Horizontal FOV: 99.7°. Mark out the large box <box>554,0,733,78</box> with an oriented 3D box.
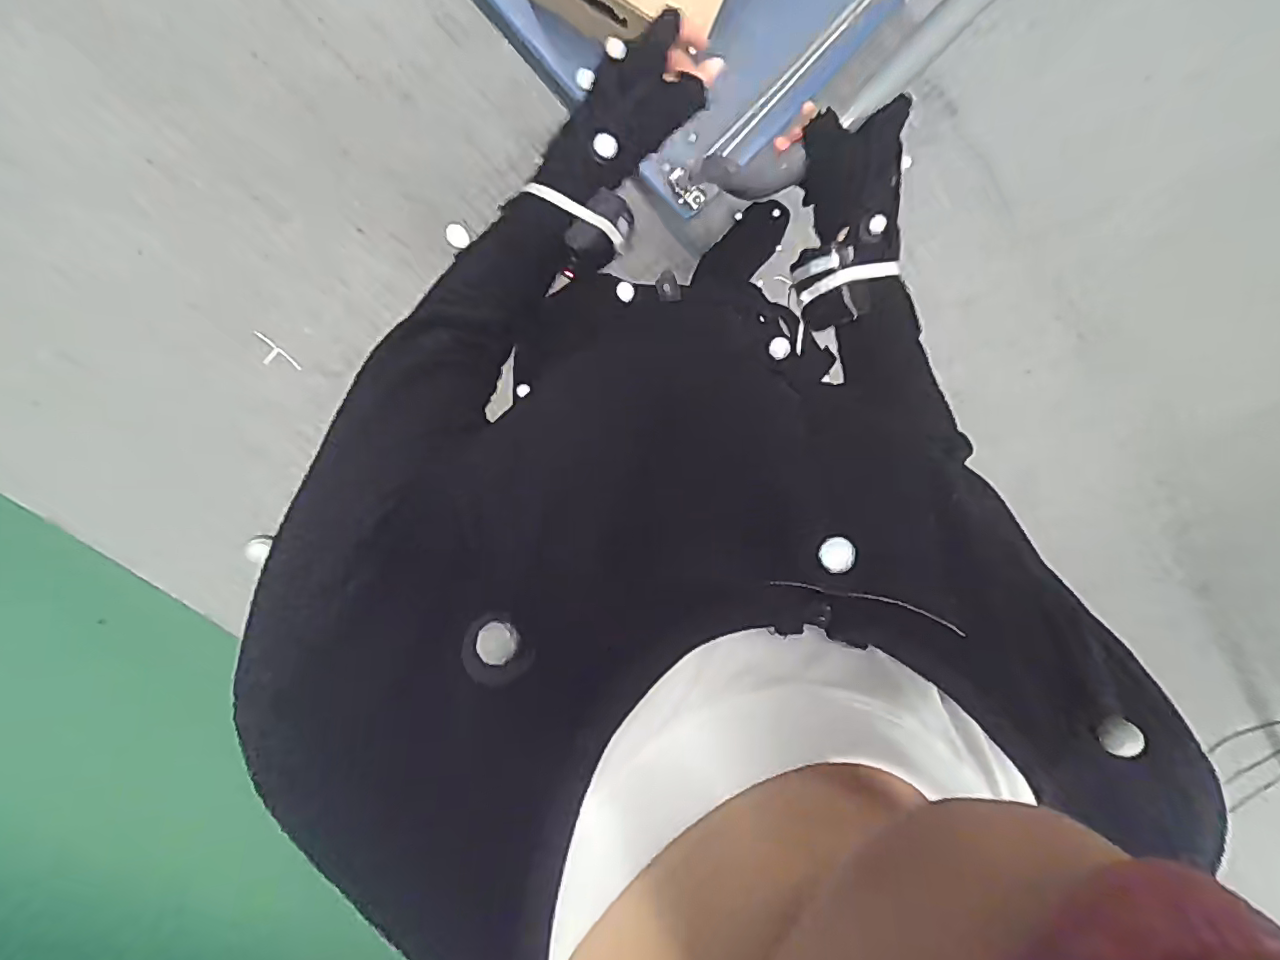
[{"bbox_3d":[0.039,-0.871,0.743,0.320,0.320,0.408,23,117,-11],"label":"large box"}]
